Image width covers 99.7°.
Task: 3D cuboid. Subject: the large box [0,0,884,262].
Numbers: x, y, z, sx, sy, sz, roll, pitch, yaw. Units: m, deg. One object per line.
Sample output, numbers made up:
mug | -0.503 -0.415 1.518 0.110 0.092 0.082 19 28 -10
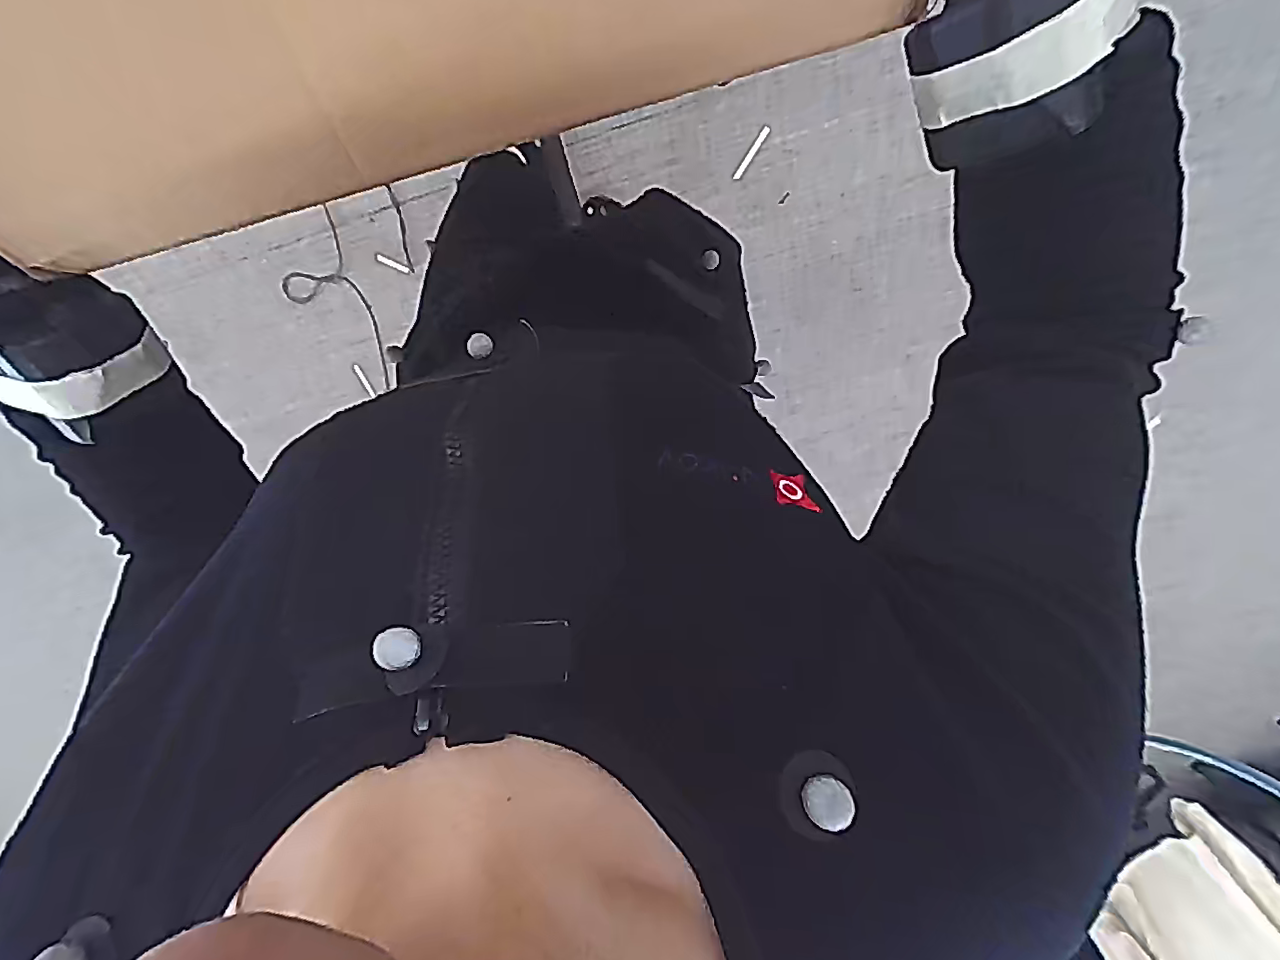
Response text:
large box | -0.134 -0.355 0.219 0.408 0.320 0.320 -13 139 5
